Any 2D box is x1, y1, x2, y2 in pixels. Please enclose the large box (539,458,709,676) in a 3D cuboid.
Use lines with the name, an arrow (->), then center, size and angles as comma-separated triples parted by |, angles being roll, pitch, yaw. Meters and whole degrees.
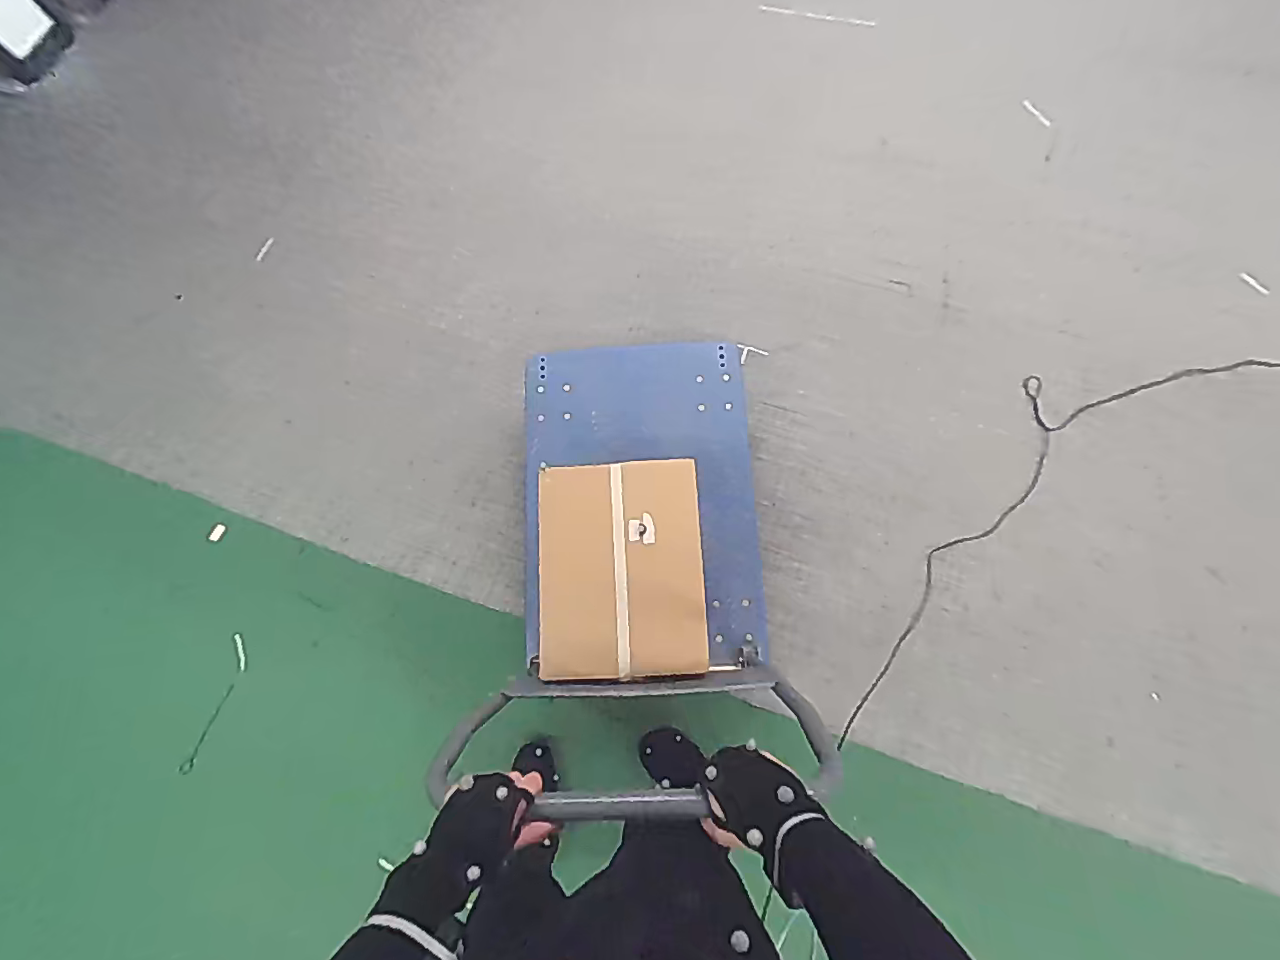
large box -> -0.031, 0.195, 1.181 | 0.320, 0.320, 0.408 | -3, 76, 2
